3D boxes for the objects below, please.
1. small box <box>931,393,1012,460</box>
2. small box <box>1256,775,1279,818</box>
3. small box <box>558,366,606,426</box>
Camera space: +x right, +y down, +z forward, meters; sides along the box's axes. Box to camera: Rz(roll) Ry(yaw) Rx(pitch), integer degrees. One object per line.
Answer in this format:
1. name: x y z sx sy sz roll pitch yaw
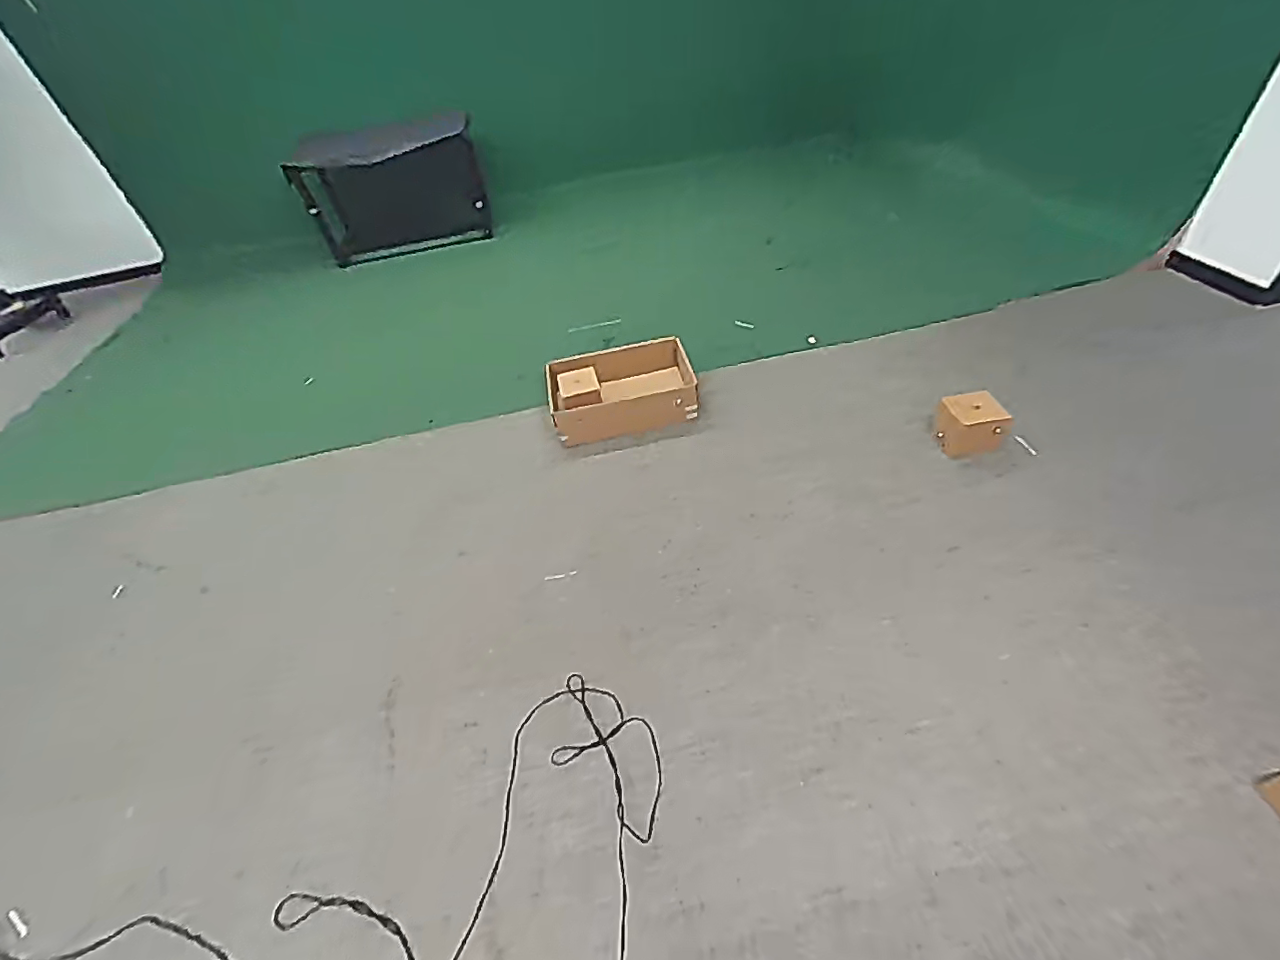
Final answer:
1. small box: 1.209 -0.195 1.987 0.179 0.176 0.168 -9 44 2
2. small box: 1.448 0.674 1.091 0.168 0.176 0.179 -12 44 -1
3. small box: -0.249 -0.360 2.334 0.168 0.176 0.179 -14 46 -4
